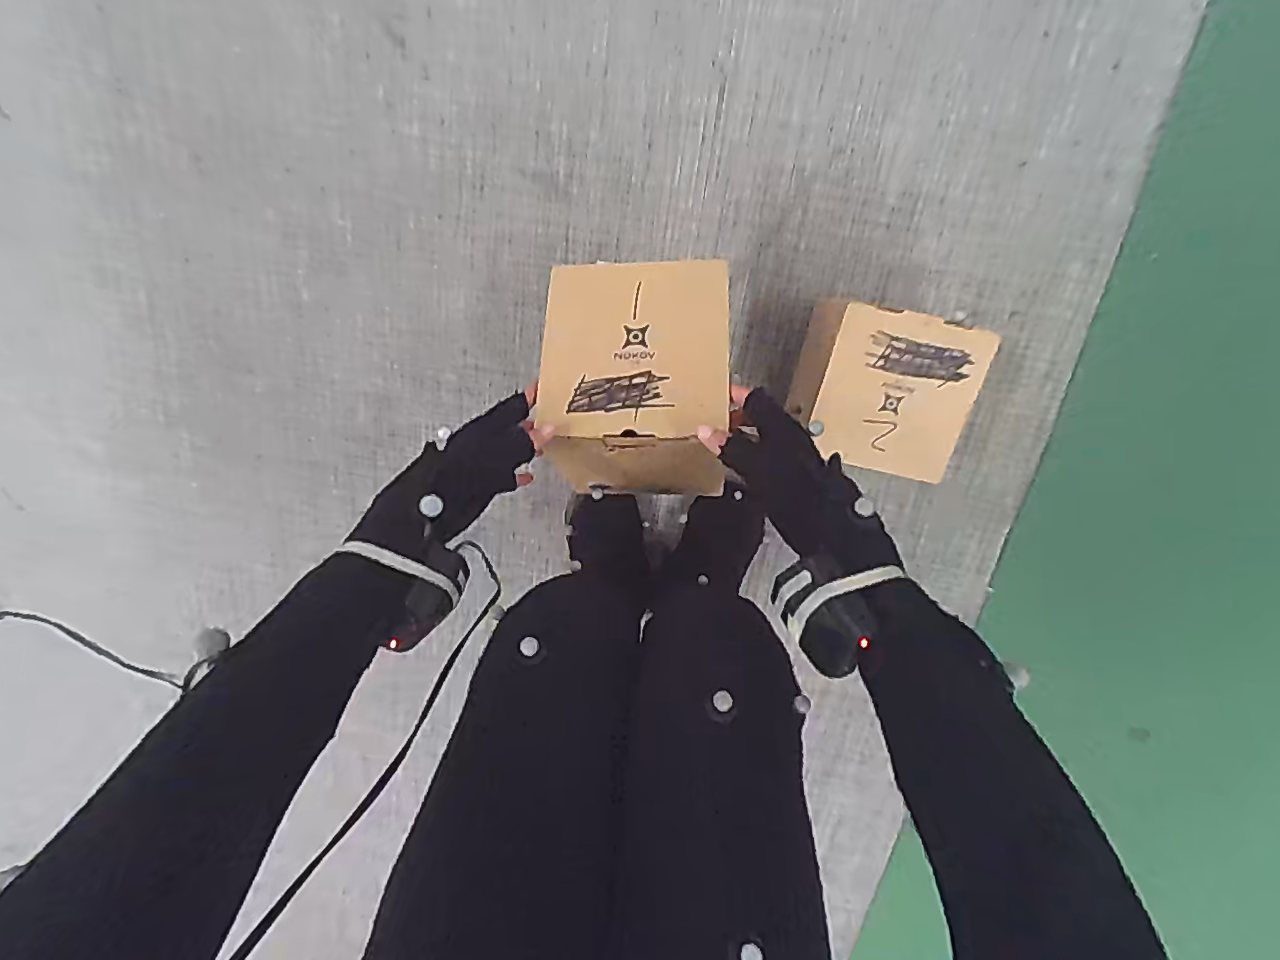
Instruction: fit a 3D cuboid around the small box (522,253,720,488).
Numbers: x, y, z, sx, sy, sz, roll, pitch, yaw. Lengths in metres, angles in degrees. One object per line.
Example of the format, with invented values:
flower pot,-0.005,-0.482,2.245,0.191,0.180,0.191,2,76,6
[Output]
small box,-0.005,-0.095,0.539,0.168,0.176,0.179,0,72,7
